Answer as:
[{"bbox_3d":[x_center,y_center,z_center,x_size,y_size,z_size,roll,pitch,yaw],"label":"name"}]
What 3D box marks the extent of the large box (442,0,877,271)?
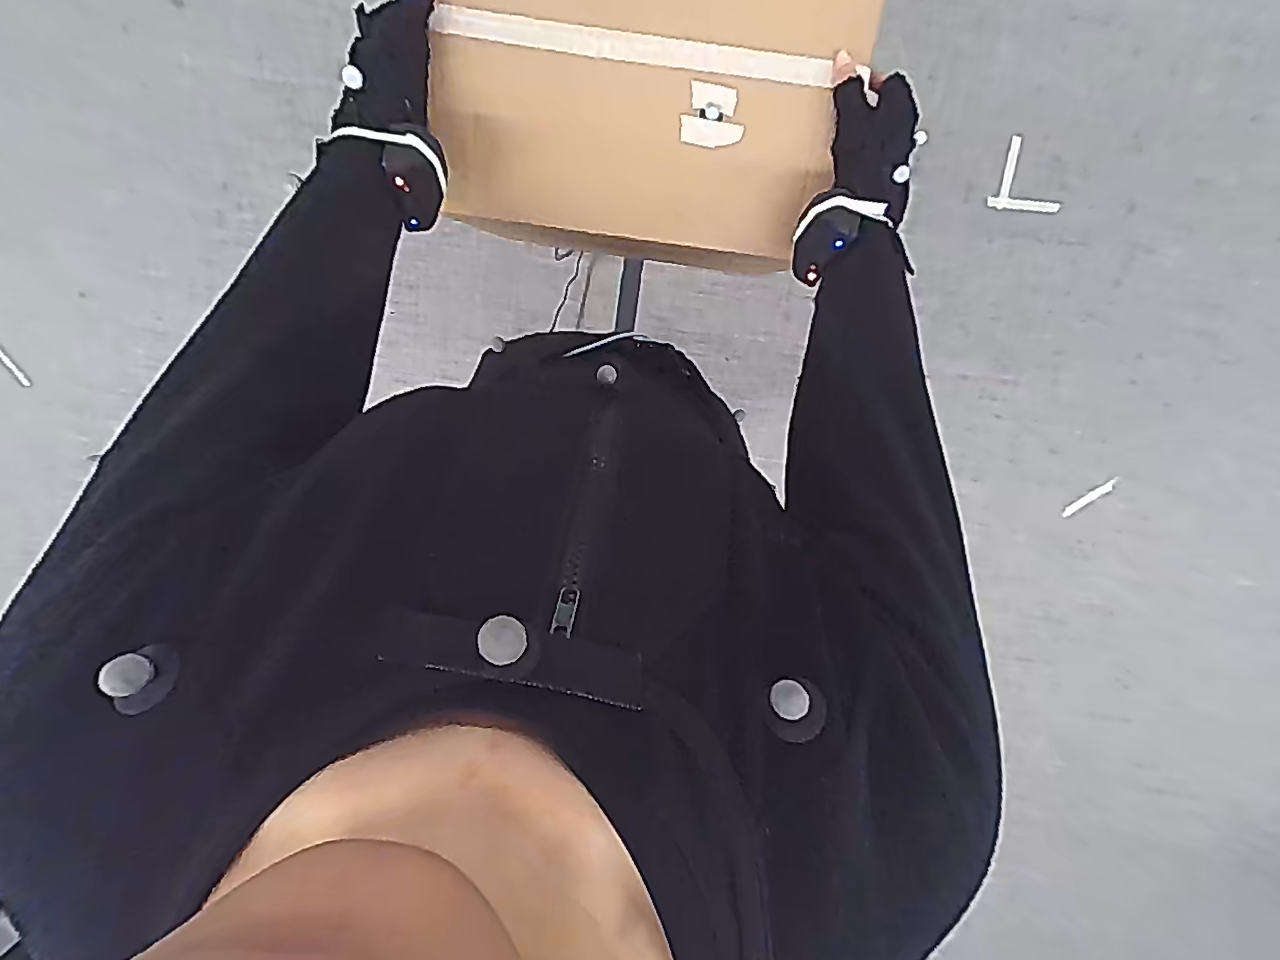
[{"bbox_3d":[0.011,-0.441,0.650,0.408,0.320,0.320,7,110,-2],"label":"large box"}]
